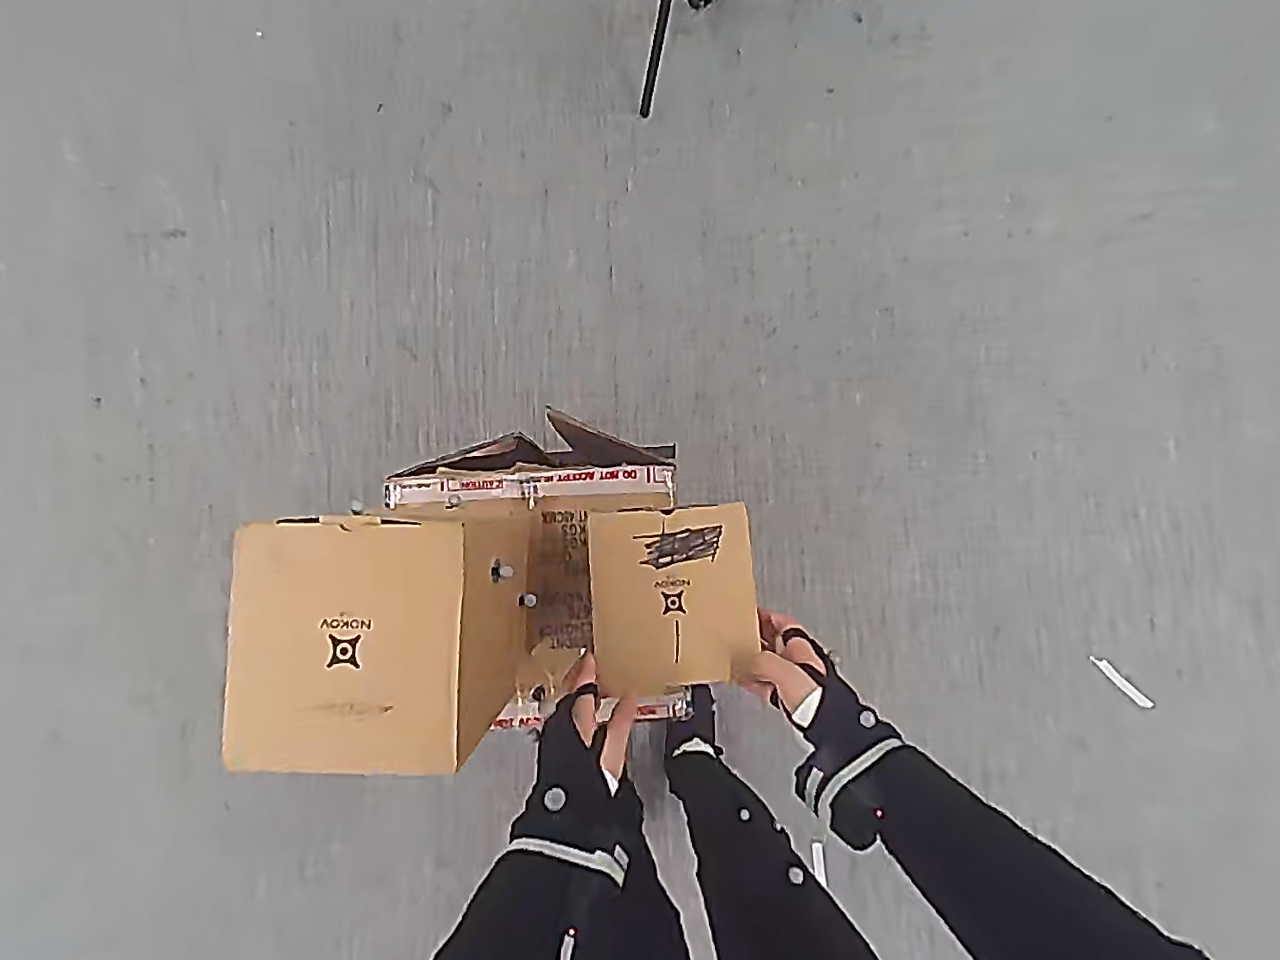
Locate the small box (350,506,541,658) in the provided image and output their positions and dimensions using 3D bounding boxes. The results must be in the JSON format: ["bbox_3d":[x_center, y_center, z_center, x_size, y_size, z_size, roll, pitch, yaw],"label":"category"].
[{"bbox_3d":[-0.211,0.120,0.619,0.168,0.176,0.179,0,87,1],"label":"small box"}]

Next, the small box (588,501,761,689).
[{"bbox_3d":[0.028,0.126,0.613,0.168,0.176,0.179,-4,80,-3],"label":"small box"}]

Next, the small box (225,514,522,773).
[{"bbox_3d":[-0.201,0.117,0.455,0.168,0.176,0.179,0,88,2],"label":"small box"}]
